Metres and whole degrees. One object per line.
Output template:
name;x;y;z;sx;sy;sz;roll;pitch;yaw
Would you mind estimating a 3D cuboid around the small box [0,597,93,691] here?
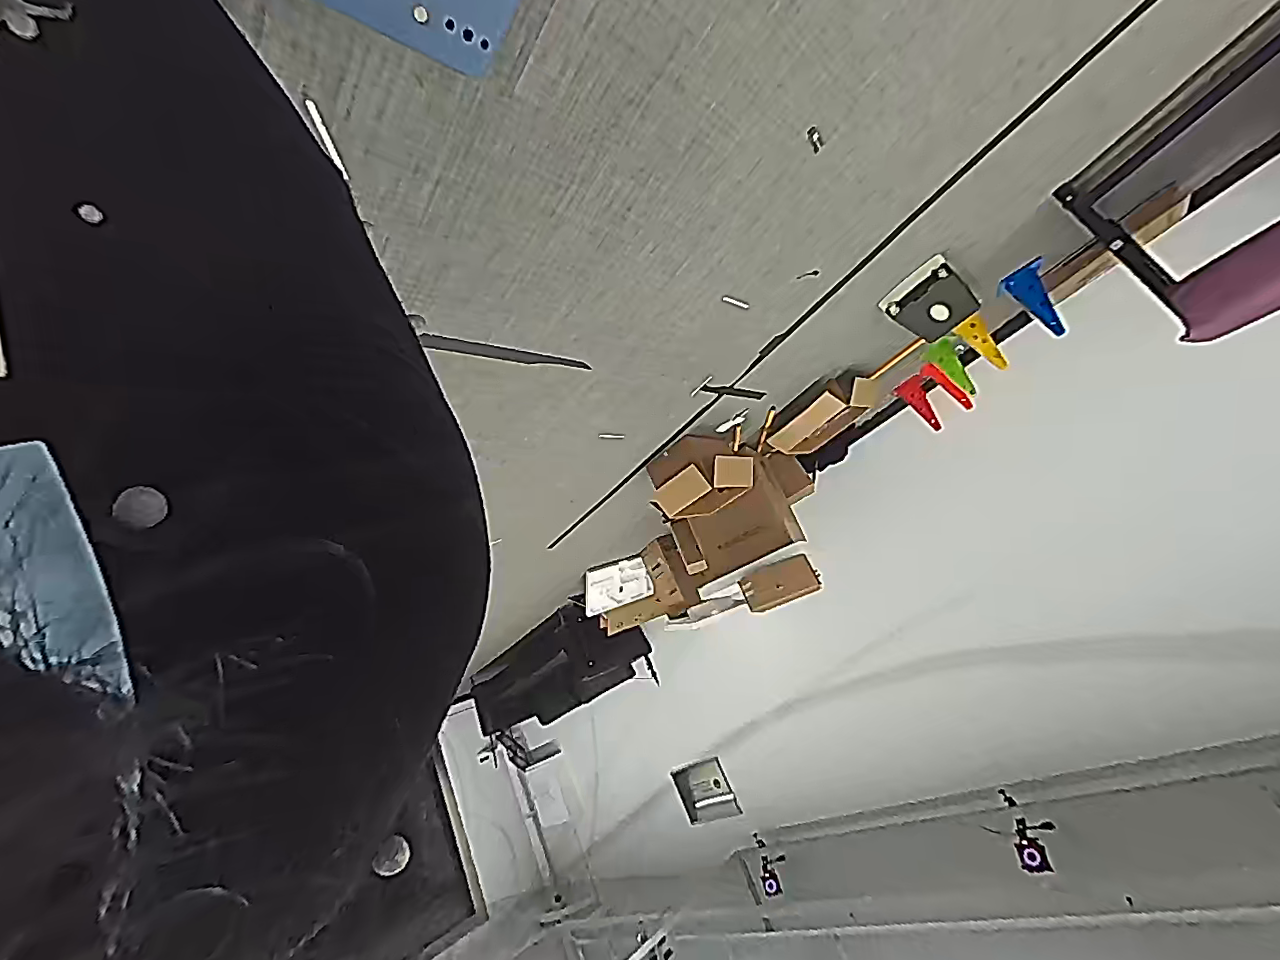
small box;-1.572;0.427;1.424;0.179;0.176;0.168;-40;157;32
